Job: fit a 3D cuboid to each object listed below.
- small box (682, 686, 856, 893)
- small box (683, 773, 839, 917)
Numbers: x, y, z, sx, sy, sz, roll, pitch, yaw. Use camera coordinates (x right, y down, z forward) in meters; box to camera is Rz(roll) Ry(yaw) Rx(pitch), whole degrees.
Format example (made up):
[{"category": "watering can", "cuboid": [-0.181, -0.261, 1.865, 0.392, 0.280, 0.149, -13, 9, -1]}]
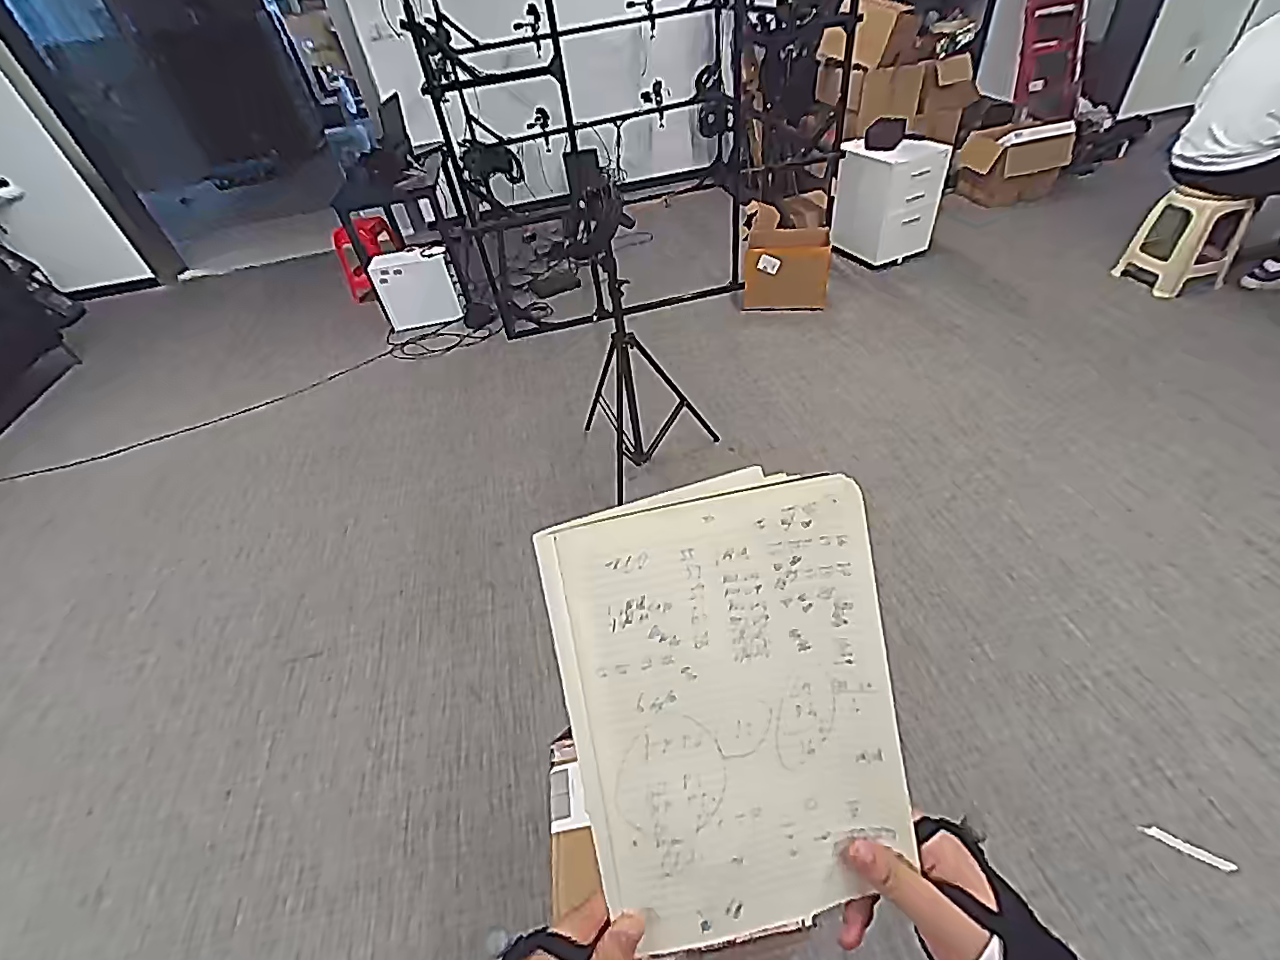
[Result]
[{"category": "small box", "cuboid": [0.153, 0.407, 0.716, 0.168, 0.176, 0.179, -11, 44, -6]}, {"category": "small box", "cuboid": [0.171, 0.530, 0.823, 0.179, 0.176, 0.168, -14, 44, -7]}]
